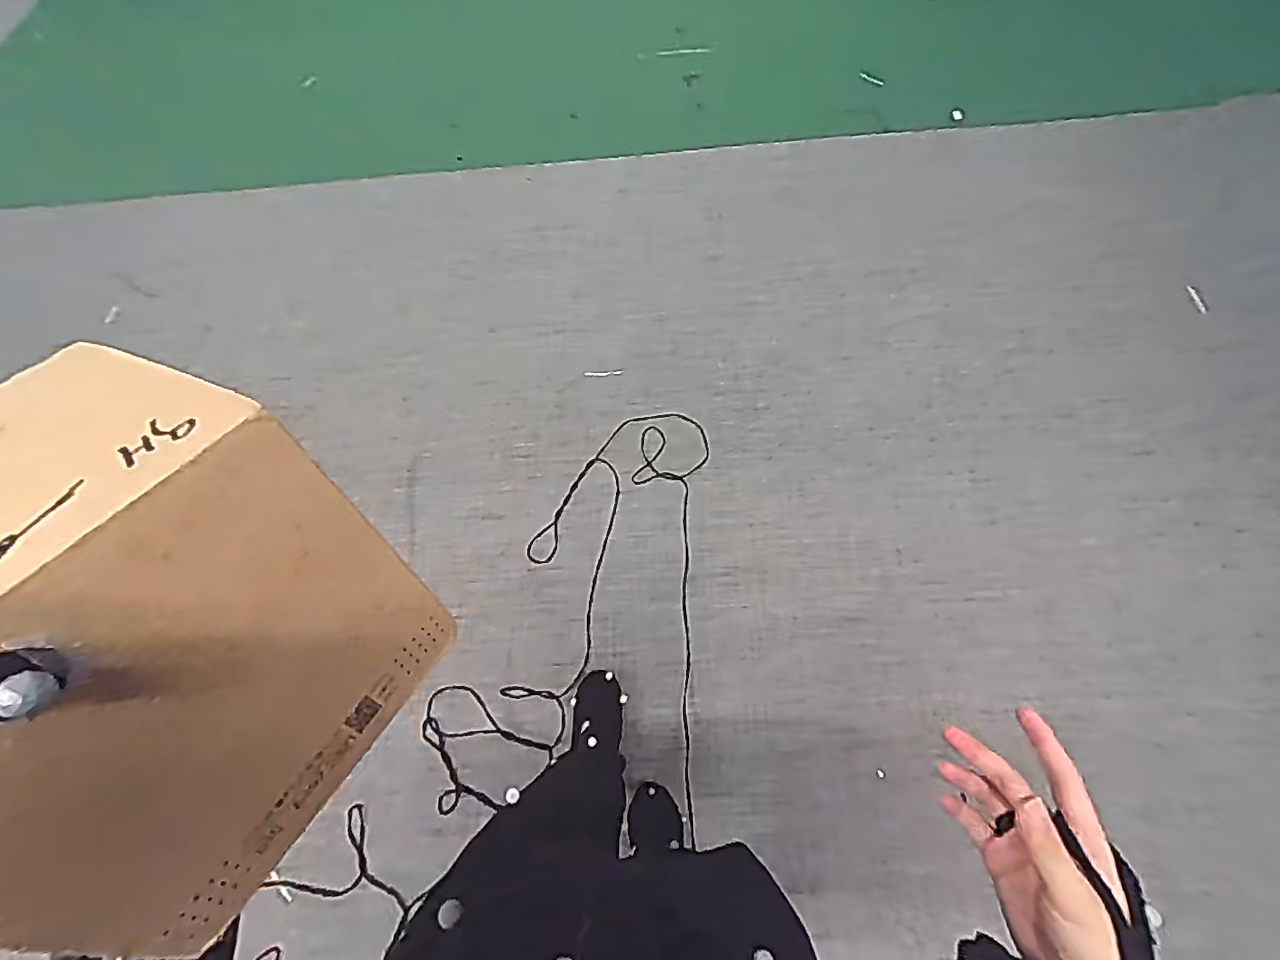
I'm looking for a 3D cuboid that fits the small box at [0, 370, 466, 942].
[{"bbox_3d":[-0.221,0.074,0.252,0.179,0.176,0.168,15,53,27],"label":"small box"}]
